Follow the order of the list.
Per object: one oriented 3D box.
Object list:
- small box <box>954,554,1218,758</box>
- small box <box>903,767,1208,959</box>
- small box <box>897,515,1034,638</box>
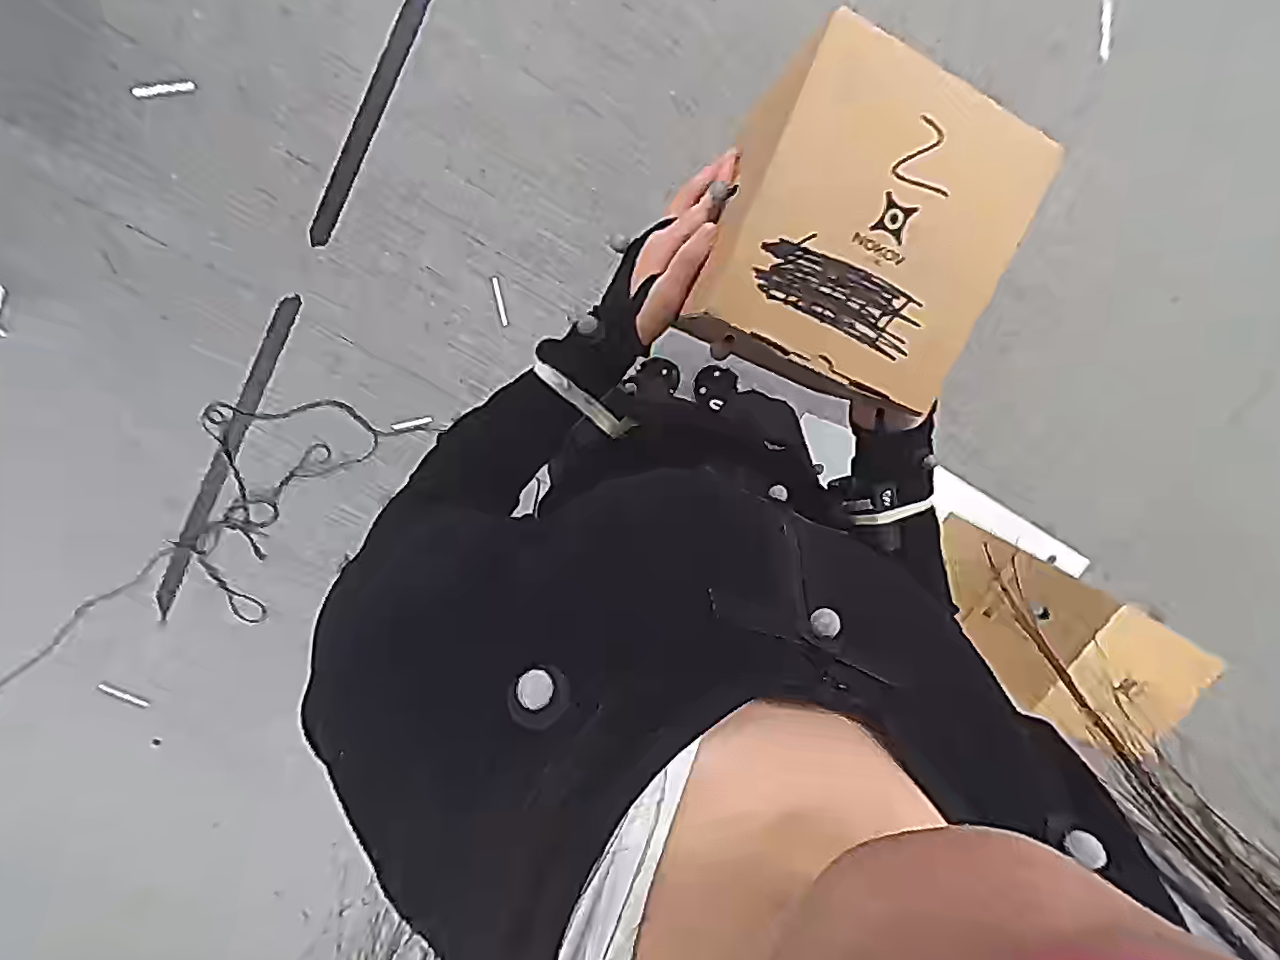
[{"bbox_3d":[0.572,0.220,0.722,0.179,0.176,0.168,28,102,-10],"label":"small box"},{"bbox_3d":[0.443,0.464,0.608,0.179,0.176,0.168,32,99,-12],"label":"small box"},{"bbox_3d":[0.568,0.178,0.880,0.179,0.176,0.168,27,101,-9],"label":"small box"}]
